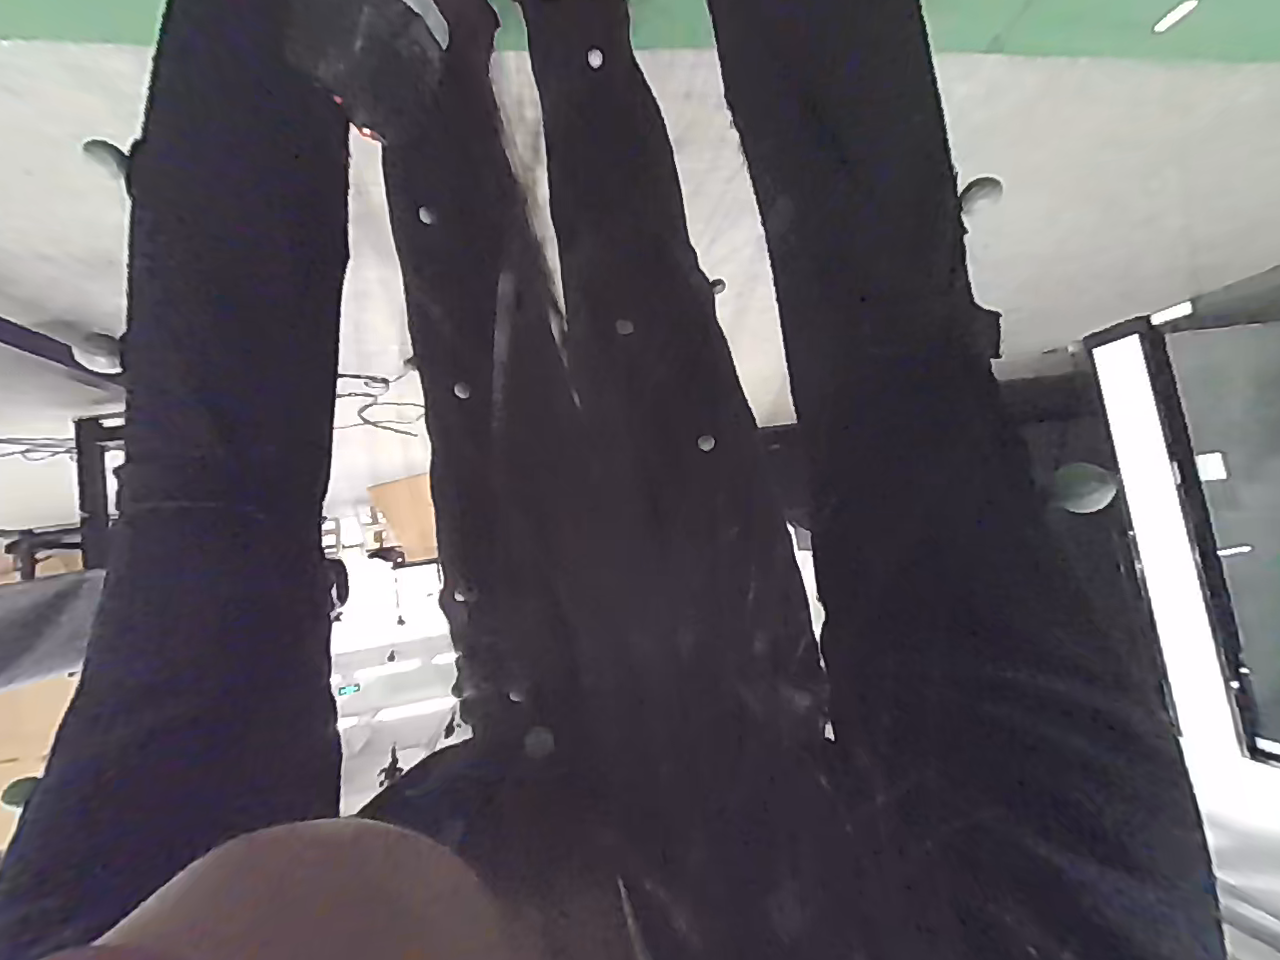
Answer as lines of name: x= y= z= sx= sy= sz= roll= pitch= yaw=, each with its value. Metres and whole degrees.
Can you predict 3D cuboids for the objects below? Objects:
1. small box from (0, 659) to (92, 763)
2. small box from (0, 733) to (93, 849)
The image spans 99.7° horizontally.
small box: x=-1.314 y=0.481 z=1.128 sx=0.179 sy=0.176 sz=0.168 roll=-7 pitch=175 yaw=-9
small box: x=-1.305 y=0.646 z=1.124 sx=0.179 sy=0.176 sz=0.168 roll=-9 pitch=176 yaw=-8
